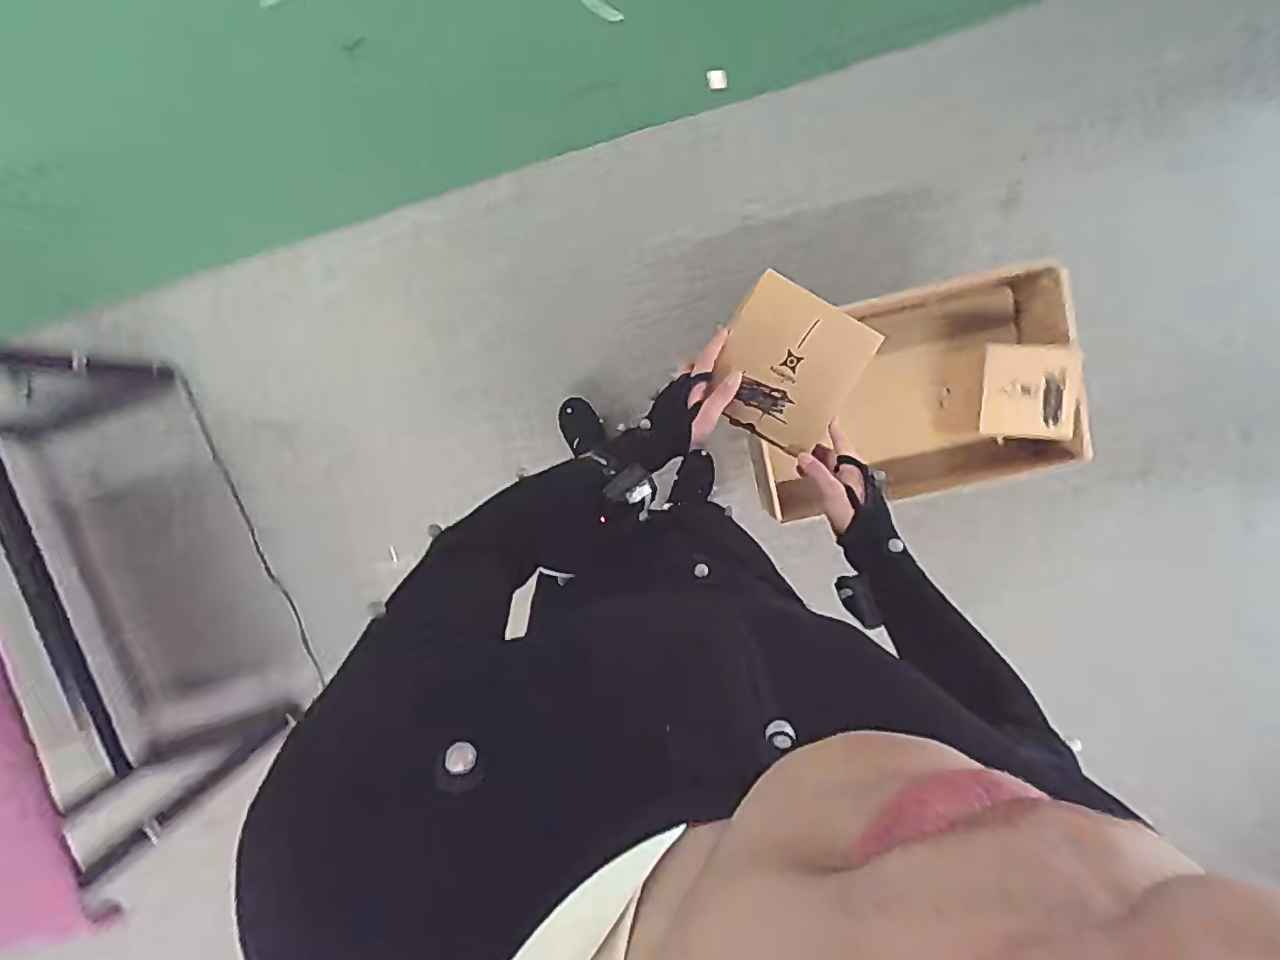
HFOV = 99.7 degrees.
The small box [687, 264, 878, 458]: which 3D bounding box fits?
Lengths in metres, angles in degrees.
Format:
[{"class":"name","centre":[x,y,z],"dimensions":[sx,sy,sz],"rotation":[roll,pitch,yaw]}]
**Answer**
[{"class":"small box","centre":[0.175,-0.153,0.723],"dimensions":[0.168,0.176,0.179],"rotation":[29,101,-2]}]
